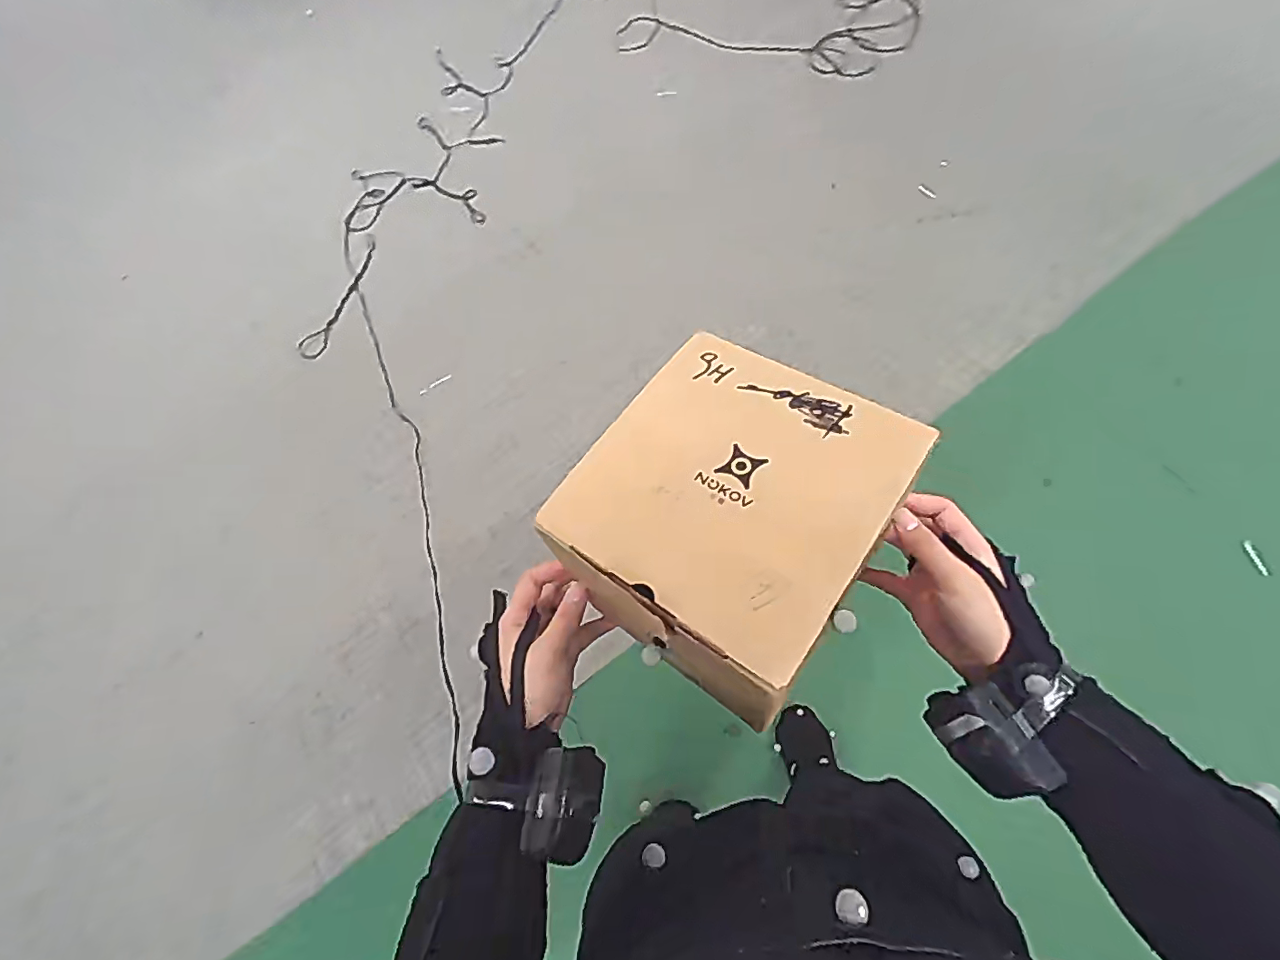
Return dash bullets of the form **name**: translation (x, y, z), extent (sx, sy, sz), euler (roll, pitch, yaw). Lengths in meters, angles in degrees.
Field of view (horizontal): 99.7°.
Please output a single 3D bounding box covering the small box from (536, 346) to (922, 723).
- **small box**: translation (0.063, 0.046, 0.385), extent (0.168, 0.176, 0.179), euler (30, 70, 25)
